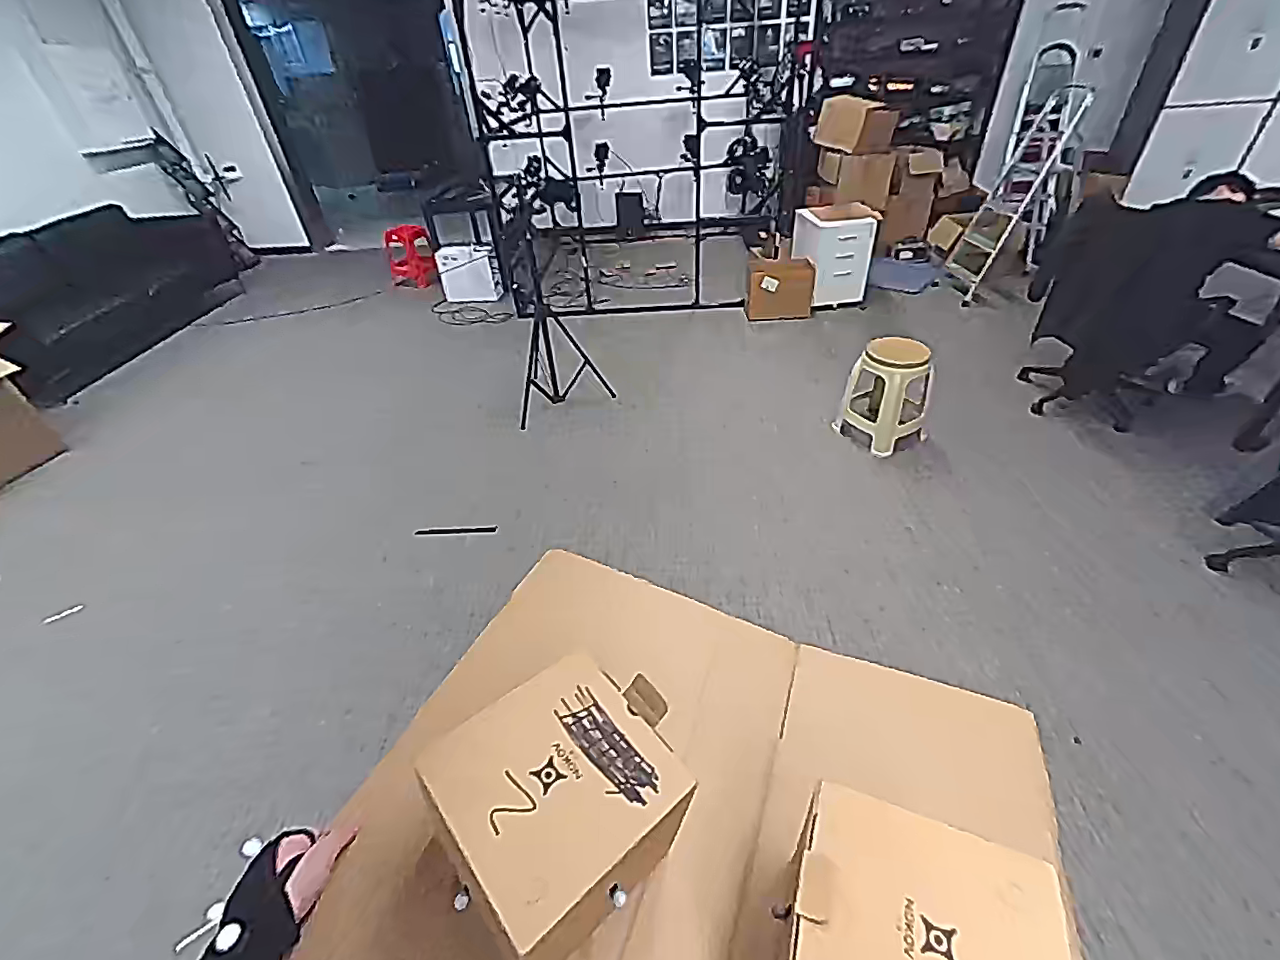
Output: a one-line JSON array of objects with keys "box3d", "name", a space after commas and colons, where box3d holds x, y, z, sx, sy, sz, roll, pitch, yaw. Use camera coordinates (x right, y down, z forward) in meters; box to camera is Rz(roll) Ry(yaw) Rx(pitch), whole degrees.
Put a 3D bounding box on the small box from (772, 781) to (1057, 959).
[{"box3d": [0.205, 0.389, 0.435, 0.179, 0.176, 0.168, 11, 36, 19], "name": "small box"}]
